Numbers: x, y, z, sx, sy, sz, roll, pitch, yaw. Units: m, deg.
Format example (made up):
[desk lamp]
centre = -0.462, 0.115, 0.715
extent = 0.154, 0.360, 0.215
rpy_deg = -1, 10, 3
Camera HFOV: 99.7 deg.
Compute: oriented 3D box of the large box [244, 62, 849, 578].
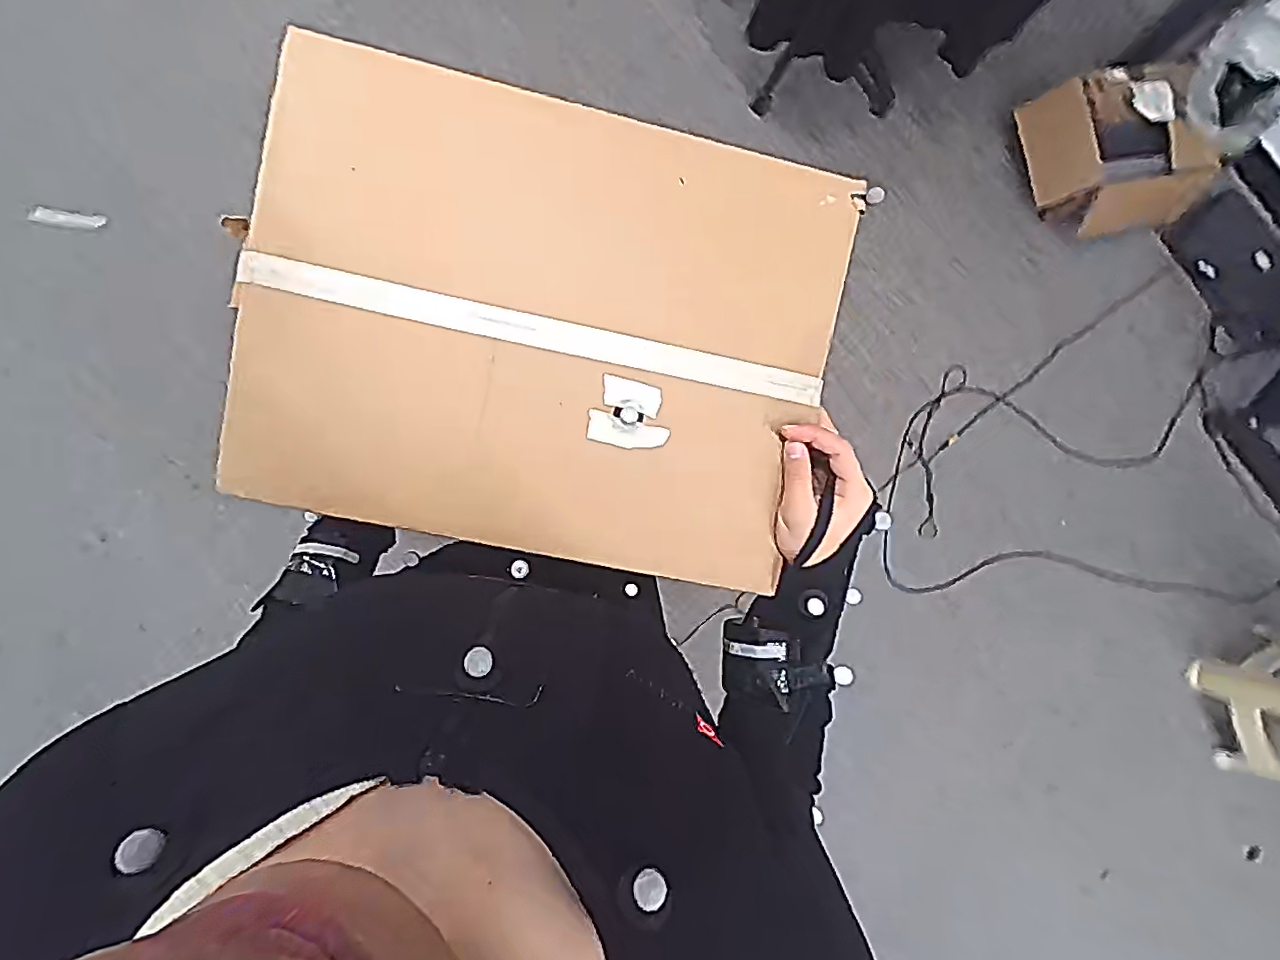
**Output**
[large box]
centre = -0.077, -0.113, 0.539
extent = 0.408, 0.320, 0.320
rpy_deg = 10, 94, -7
